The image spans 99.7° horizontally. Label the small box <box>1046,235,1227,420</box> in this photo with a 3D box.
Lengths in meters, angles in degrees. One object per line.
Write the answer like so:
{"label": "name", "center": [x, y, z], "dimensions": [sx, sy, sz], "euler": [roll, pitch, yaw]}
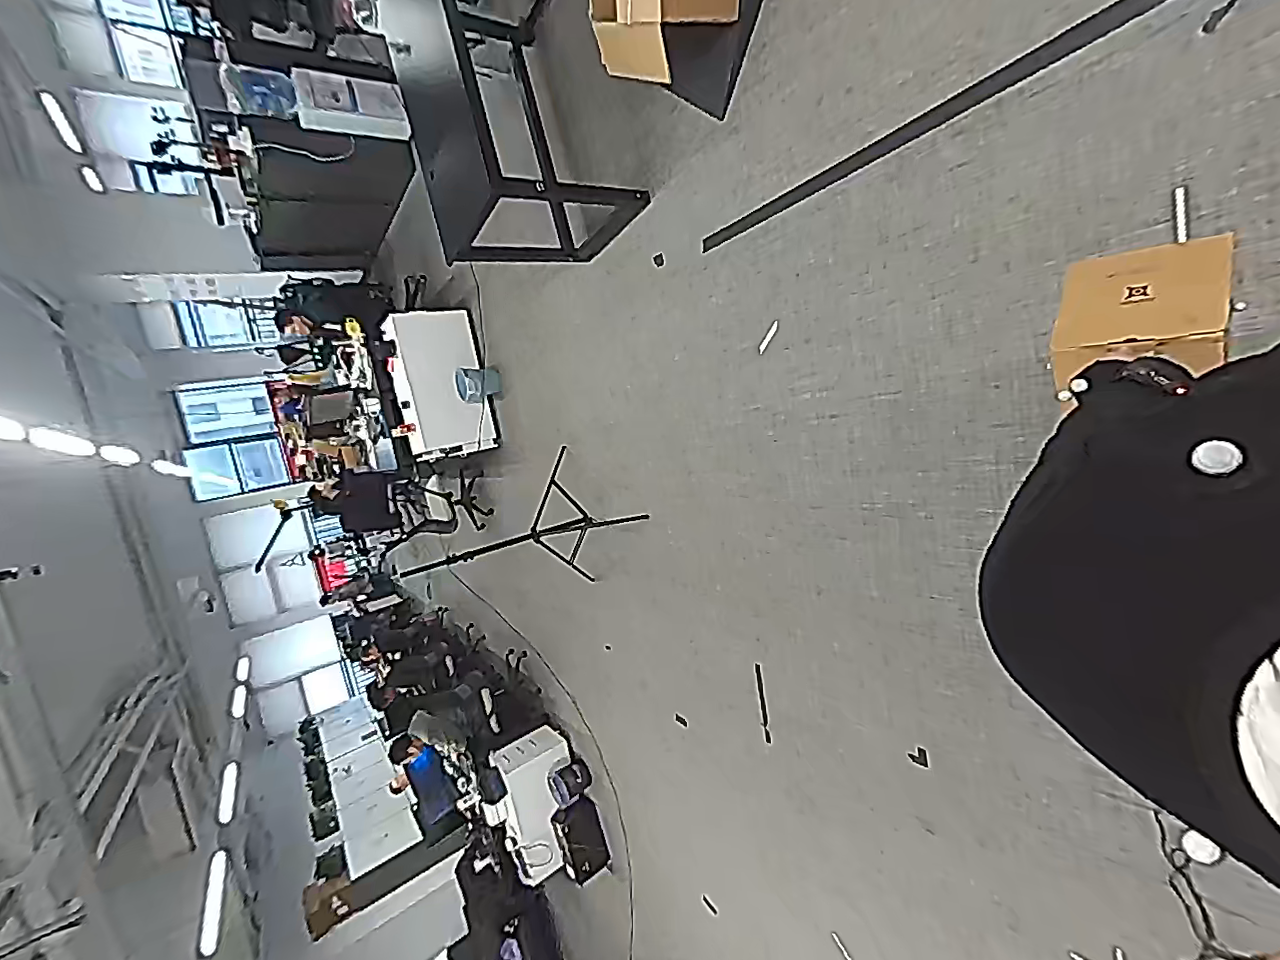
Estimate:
{"label": "small box", "center": [0.691, -0.196, 0.753], "dimensions": [0.168, 0.179, 0.176], "euler": [4, 148, 46]}
